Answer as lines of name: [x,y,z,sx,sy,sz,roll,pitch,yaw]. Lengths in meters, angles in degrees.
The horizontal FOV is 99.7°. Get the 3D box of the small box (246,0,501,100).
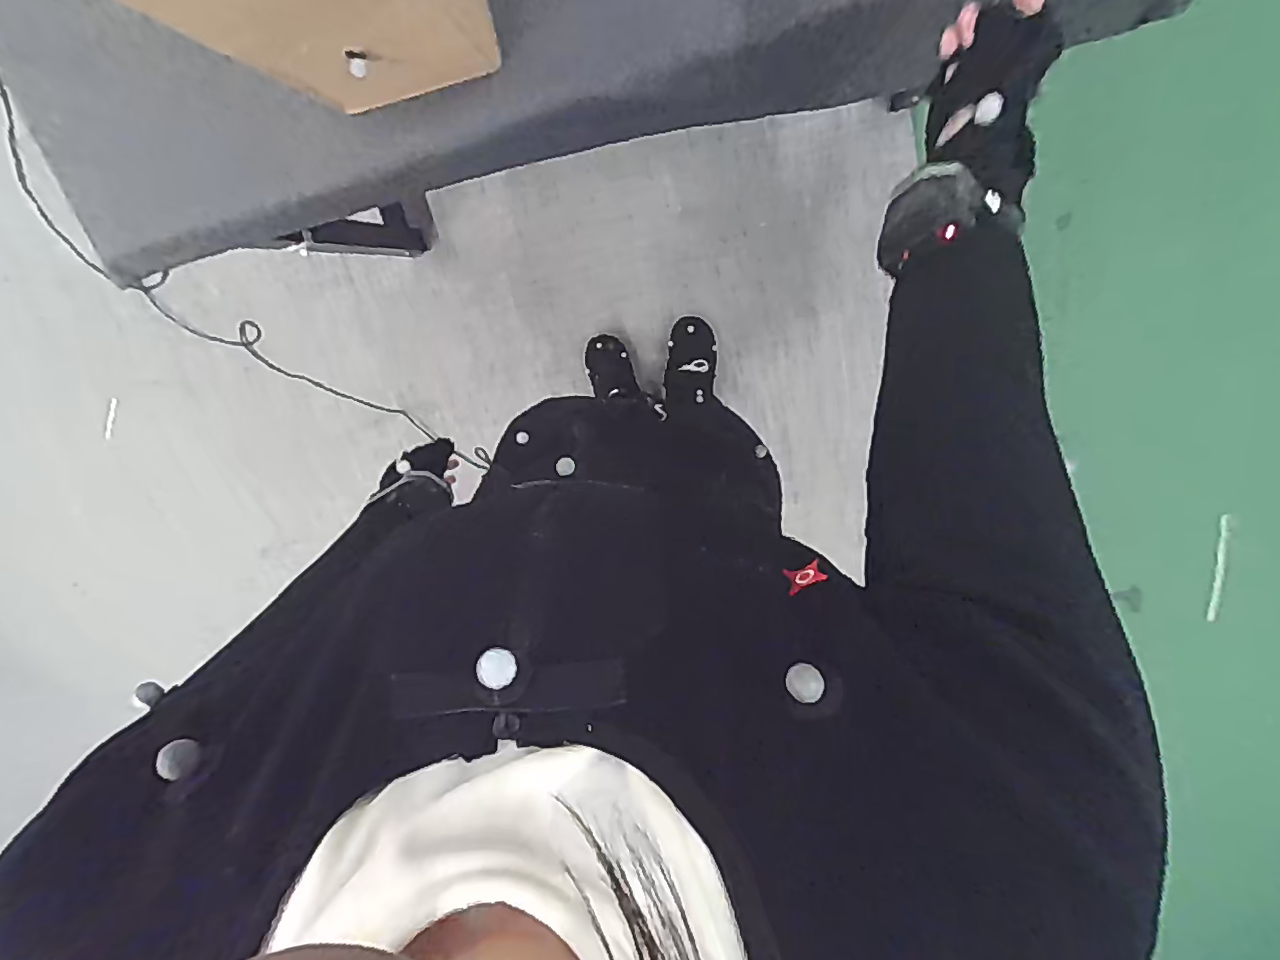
small box: [-0.246,-0.461,0.463,0.179,0.176,0.168,-9,108,9]
